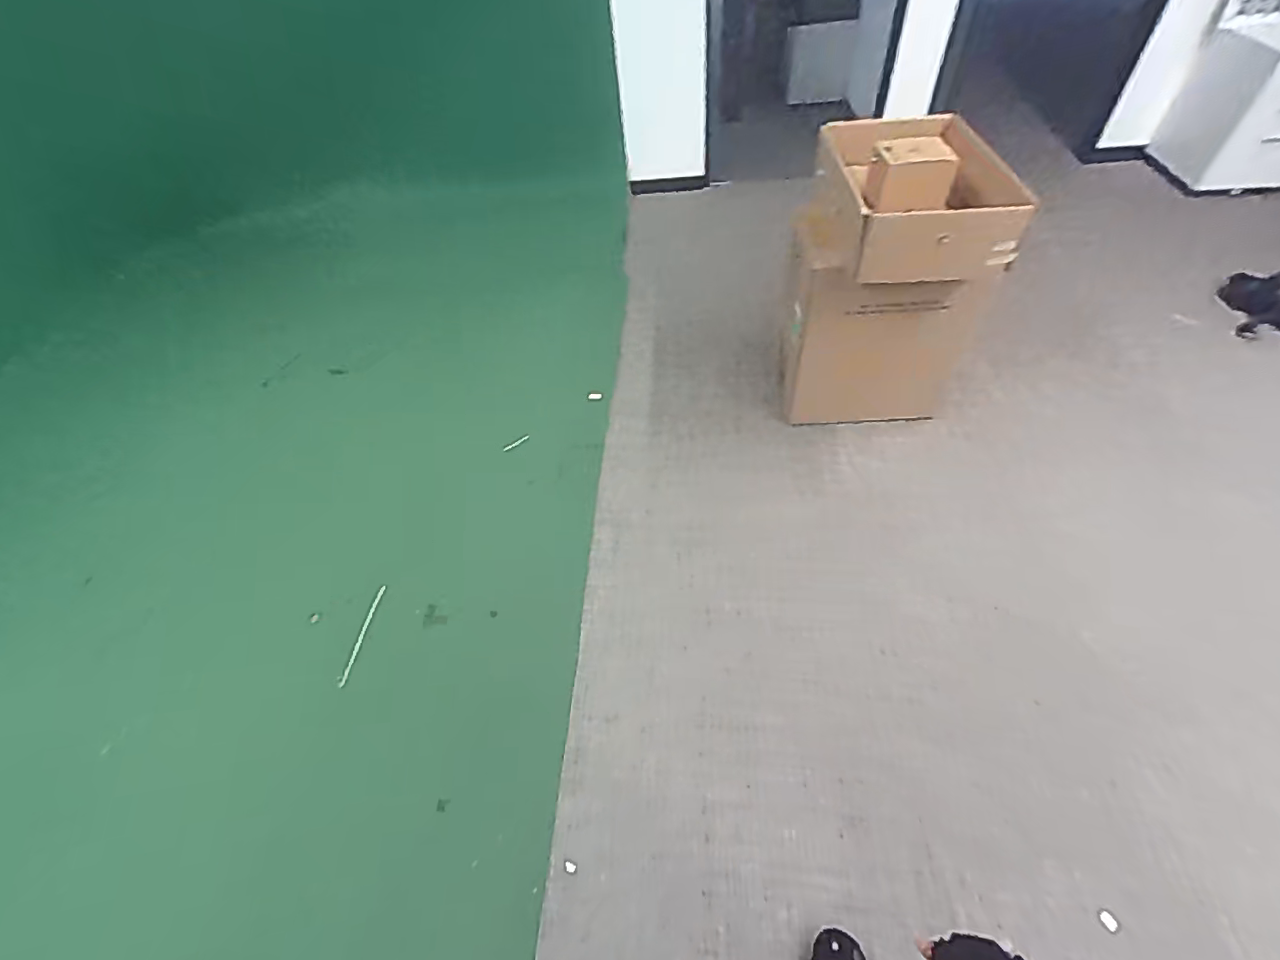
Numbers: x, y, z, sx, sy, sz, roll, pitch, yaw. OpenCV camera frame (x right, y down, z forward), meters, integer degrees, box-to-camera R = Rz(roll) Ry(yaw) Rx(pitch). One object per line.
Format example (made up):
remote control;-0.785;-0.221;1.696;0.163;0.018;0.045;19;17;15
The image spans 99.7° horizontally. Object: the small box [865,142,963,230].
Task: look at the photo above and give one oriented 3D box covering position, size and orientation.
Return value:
small box;0.747;-0.810;1.495;0.179;0.176;0.168;-1;49;4
